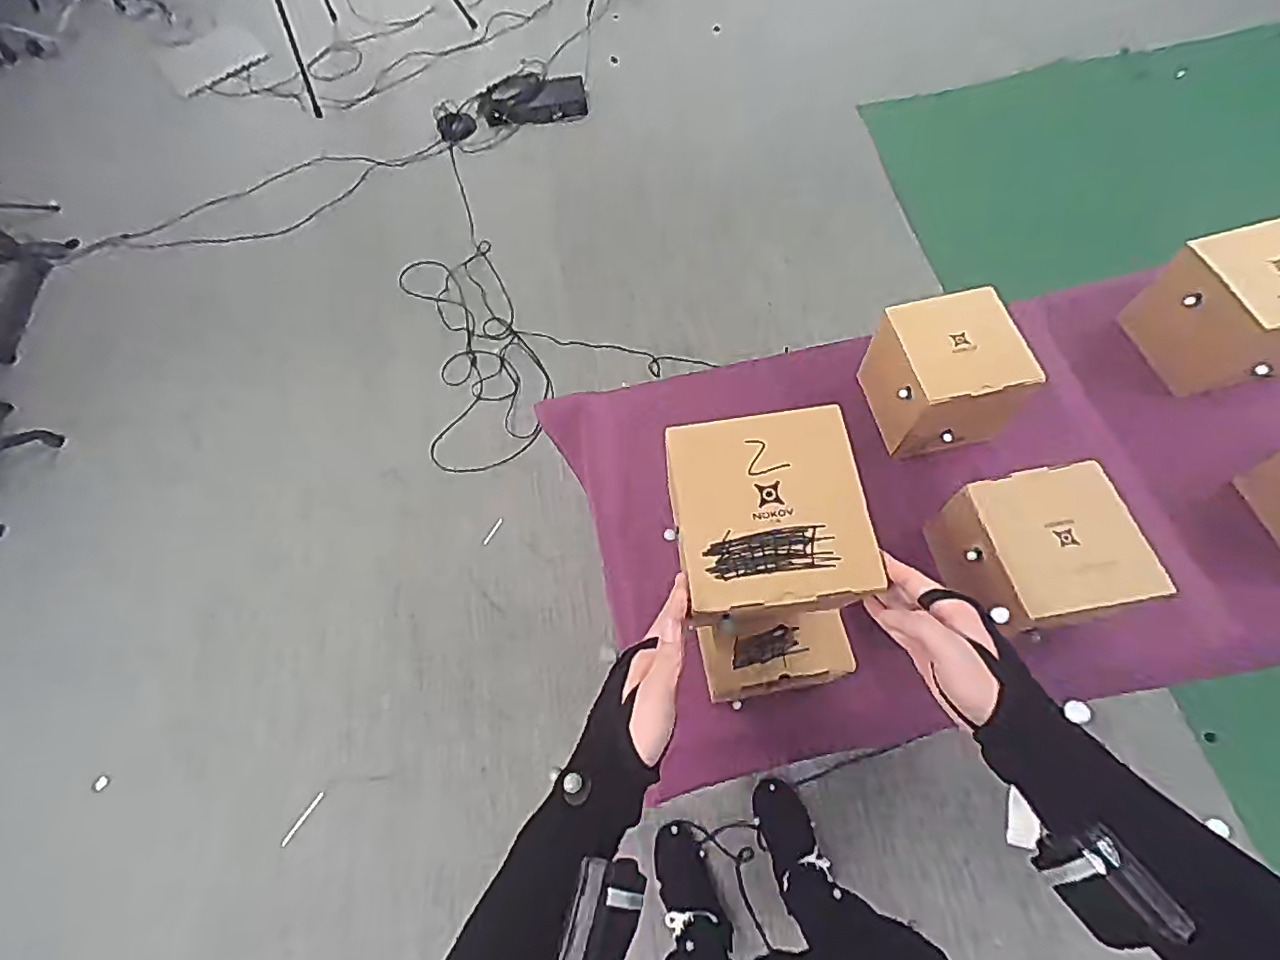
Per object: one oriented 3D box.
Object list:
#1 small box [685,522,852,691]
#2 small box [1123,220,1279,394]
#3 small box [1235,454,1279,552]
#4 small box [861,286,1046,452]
[{"bbox_3d":[0.158,0.177,0.719,0.168,0.176,0.179,-10,64,1],"label":"small box"},{"bbox_3d":[0.915,-0.262,0.833,0.168,0.176,0.179,-13,65,4],"label":"small box"},{"bbox_3d":[0.960,0.024,0.697,0.168,0.176,0.179,-10,62,3],"label":"small box"},{"bbox_3d":[0.470,-0.168,0.847,0.168,0.176,0.179,-11,66,1],"label":"small box"}]
